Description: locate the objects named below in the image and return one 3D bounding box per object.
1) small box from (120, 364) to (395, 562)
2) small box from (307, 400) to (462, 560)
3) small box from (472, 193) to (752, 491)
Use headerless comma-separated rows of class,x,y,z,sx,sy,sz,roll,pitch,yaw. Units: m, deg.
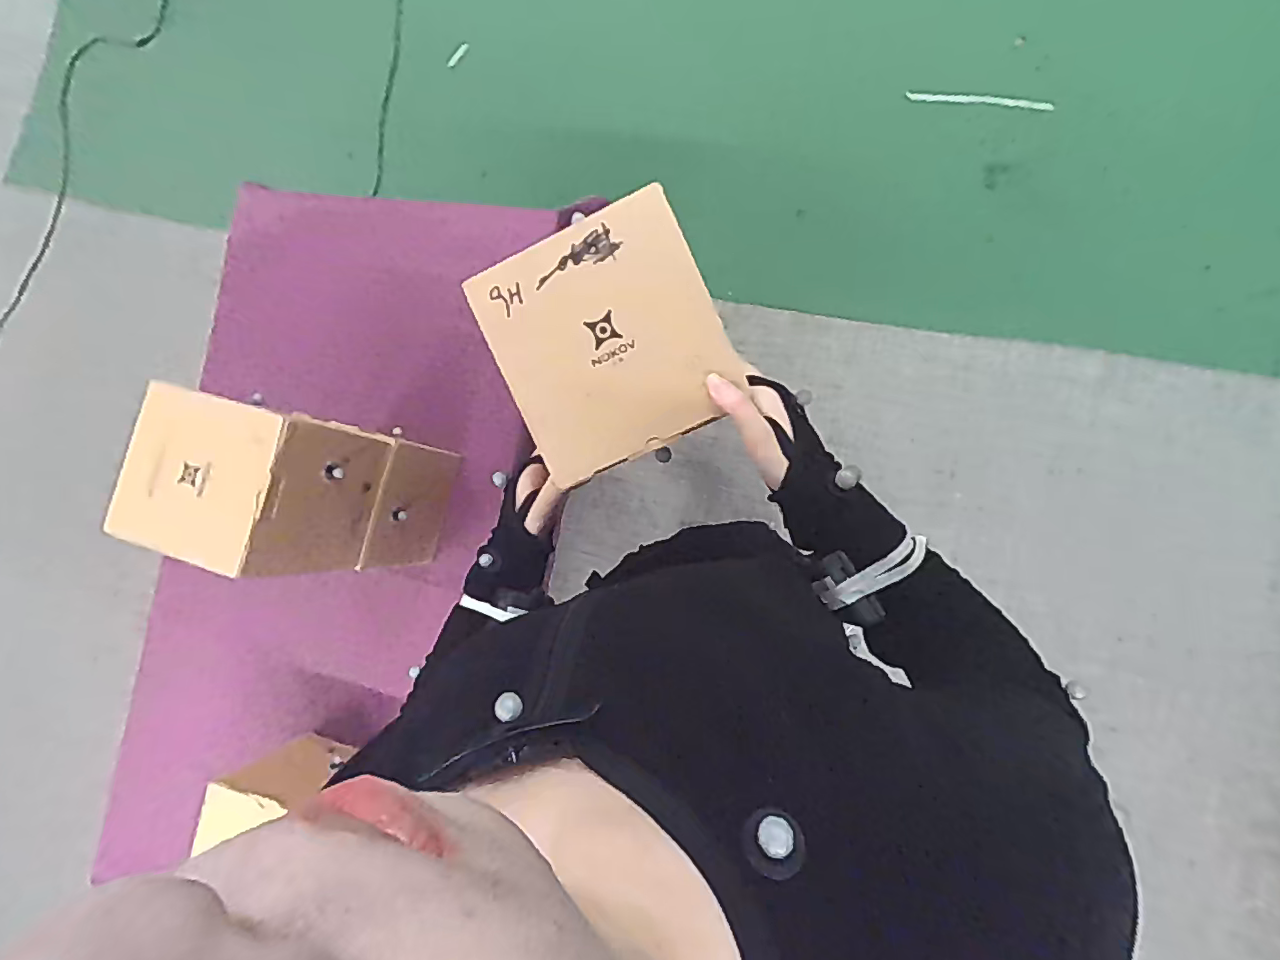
small box,-0.426,-0.014,0.631,0.179,0.176,0.168,19,87,13
small box,-0.387,0.005,0.789,0.168,0.176,0.179,18,88,11
small box,-0.013,-0.109,0.484,0.168,0.176,0.179,-23,94,7
